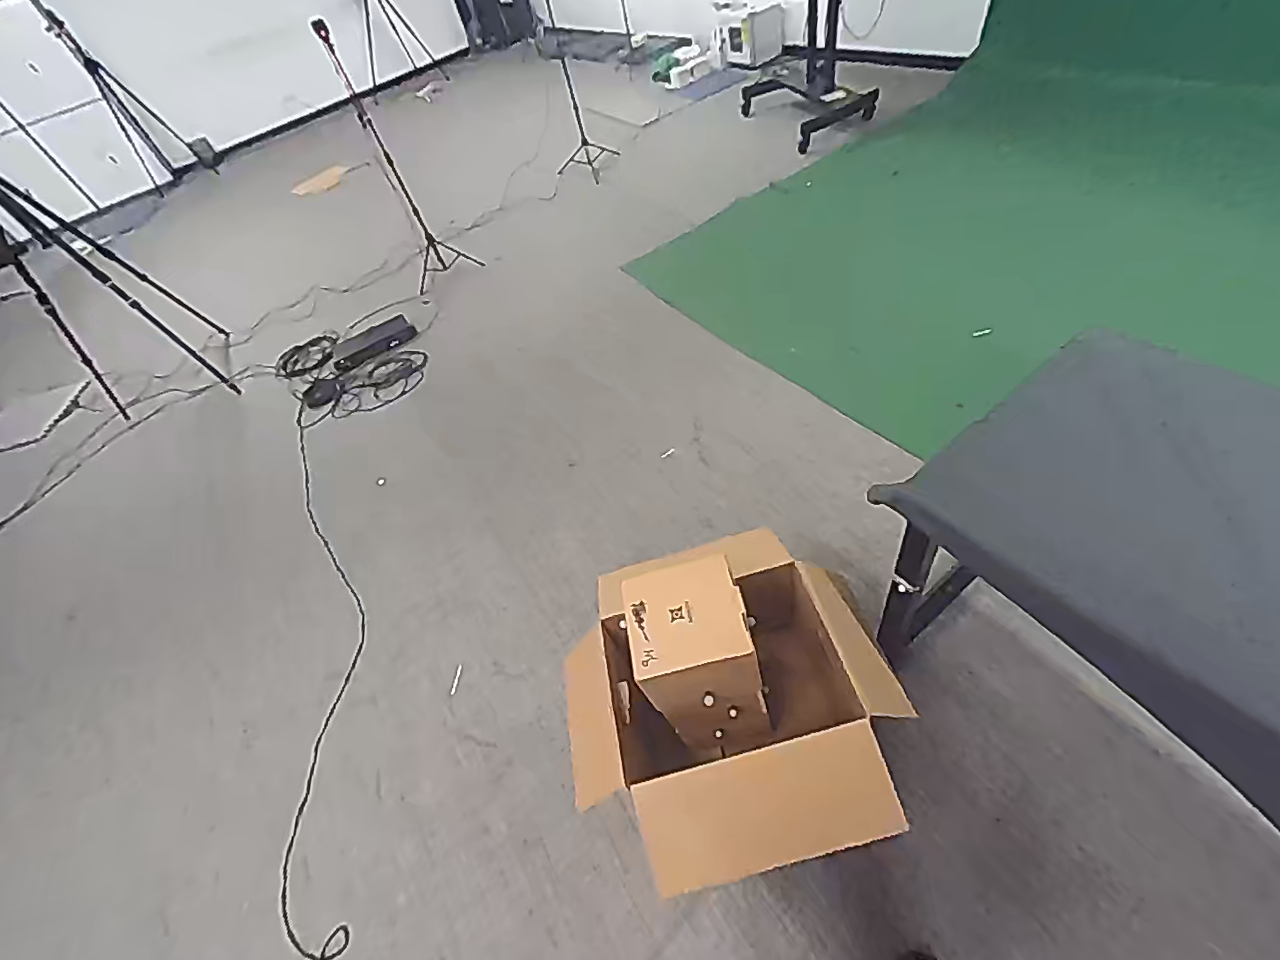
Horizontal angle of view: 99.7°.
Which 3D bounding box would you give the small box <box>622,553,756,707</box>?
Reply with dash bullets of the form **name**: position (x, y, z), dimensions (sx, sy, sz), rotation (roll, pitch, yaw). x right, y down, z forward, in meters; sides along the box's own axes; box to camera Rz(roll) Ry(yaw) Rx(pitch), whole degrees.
- **small box**: position (0.081, 0.243, 0.863), dimensions (0.179, 0.176, 0.168), rotation (-15, 49, 5)
